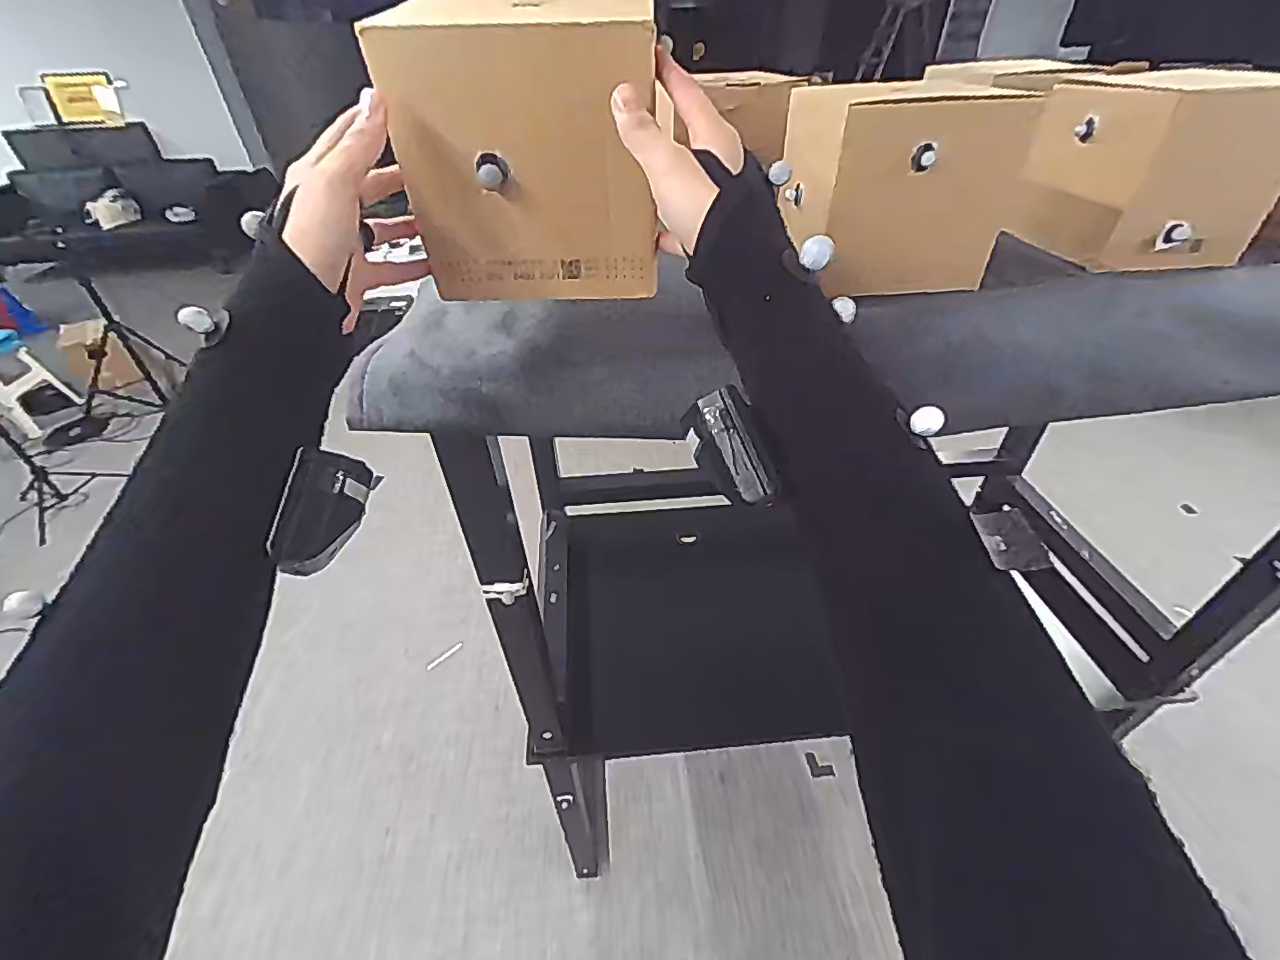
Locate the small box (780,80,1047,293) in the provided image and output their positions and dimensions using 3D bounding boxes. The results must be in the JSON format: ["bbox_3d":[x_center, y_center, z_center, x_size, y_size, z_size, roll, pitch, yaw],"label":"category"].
[{"bbox_3d":[0.251,-0.301,0.556,0.179,0.176,0.168,-3,39,-2],"label":"small box"}]

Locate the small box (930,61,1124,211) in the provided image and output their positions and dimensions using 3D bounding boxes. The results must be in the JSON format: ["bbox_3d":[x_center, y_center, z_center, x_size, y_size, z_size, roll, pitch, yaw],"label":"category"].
[{"bbox_3d":[0.513,-0.493,0.779,0.179,0.176,0.168,-4,38,-4],"label":"small box"}]

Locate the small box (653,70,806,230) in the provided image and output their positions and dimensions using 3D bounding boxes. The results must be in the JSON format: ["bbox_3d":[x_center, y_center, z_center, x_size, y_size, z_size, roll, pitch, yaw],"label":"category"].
[{"bbox_3d":[0.109,-0.453,0.746,0.168,0.176,0.179,-7,40,-6],"label":"small box"}]

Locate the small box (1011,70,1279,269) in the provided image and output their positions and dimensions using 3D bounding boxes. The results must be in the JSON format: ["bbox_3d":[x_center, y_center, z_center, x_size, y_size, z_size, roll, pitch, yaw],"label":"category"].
[{"bbox_3d":[0.560,-0.343,0.596,0.168,0.176,0.179,-4,39,-1],"label":"small box"}]

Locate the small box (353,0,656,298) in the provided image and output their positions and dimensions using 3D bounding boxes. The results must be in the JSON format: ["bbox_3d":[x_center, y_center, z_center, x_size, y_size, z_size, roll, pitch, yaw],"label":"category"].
[{"bbox_3d":[-0.071,-0.250,0.403,0.168,0.176,0.179,-1,46,1],"label":"small box"}]
